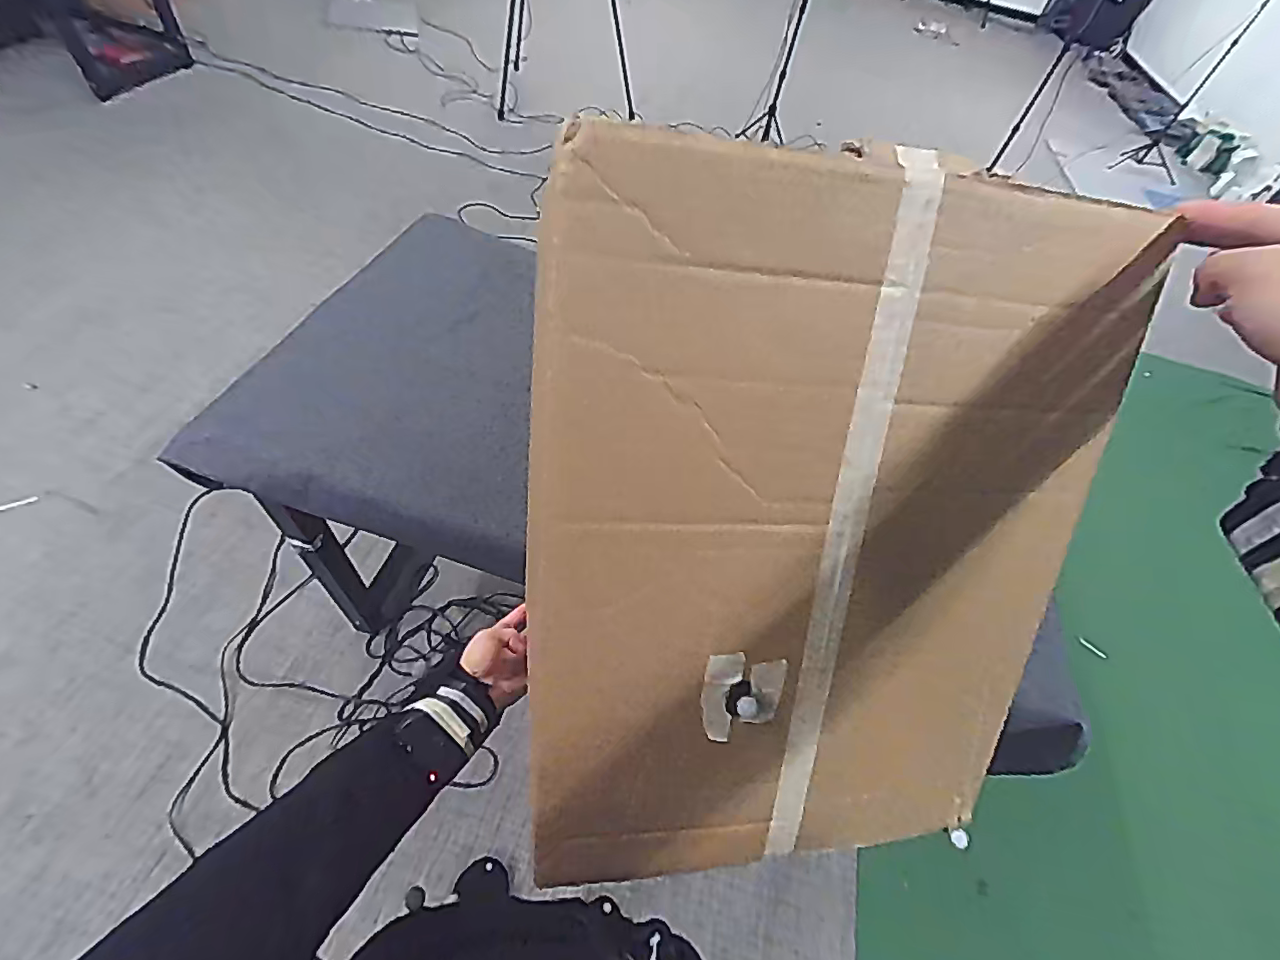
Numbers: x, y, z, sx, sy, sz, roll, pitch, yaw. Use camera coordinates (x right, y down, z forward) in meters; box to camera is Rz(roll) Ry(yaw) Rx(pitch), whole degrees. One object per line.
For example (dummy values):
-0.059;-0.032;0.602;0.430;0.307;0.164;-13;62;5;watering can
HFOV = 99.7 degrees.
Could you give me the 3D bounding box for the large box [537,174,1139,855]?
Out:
0.079;0.005;0.456;0.320;0.408;0.320;0;20;-13;large box
